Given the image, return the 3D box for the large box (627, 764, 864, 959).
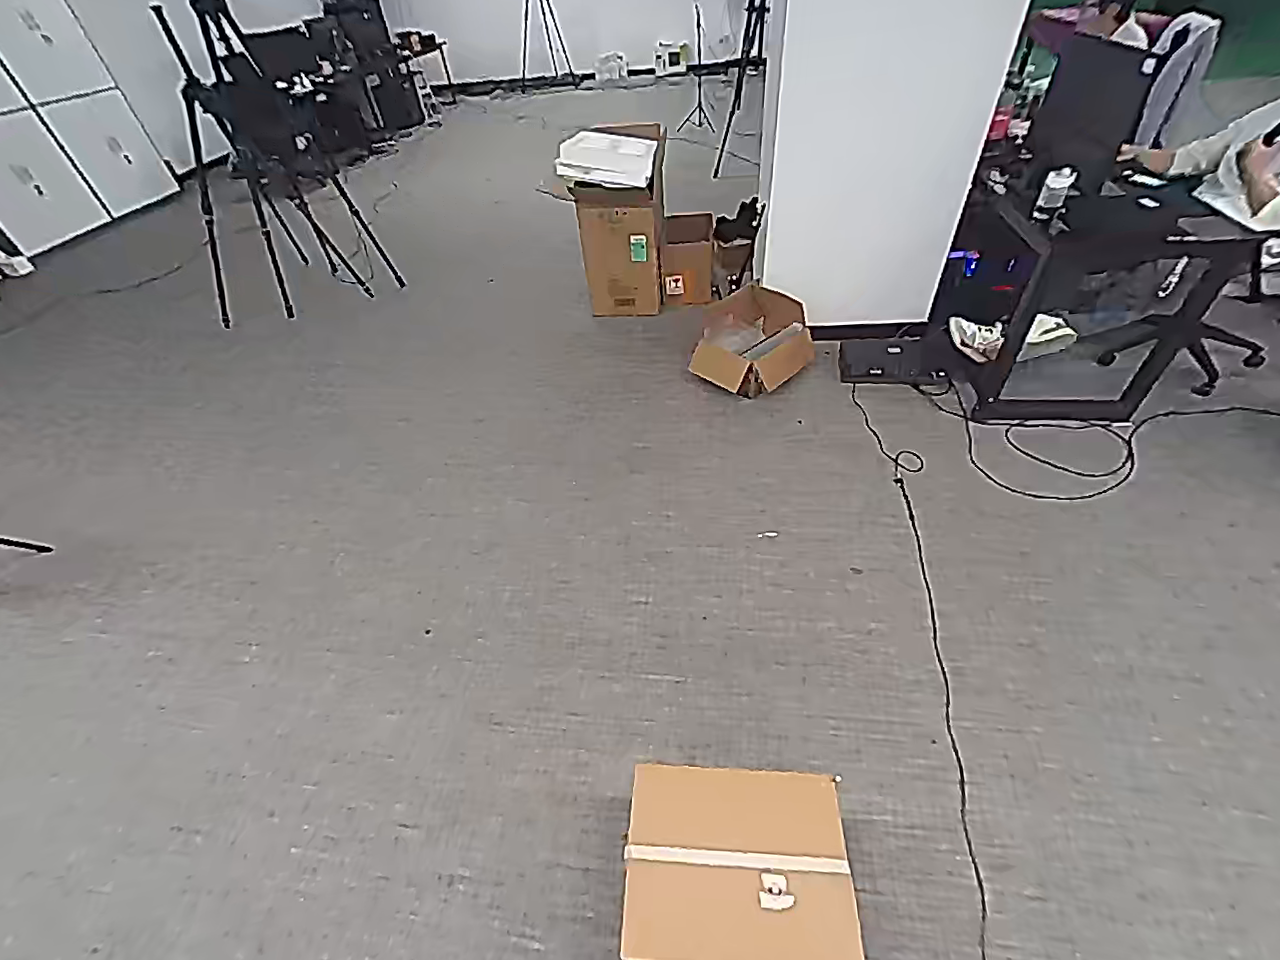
[{"bbox_3d":[0.191,0.810,1.113,0.408,0.320,0.320,0,45,6],"label":"large box"}]
